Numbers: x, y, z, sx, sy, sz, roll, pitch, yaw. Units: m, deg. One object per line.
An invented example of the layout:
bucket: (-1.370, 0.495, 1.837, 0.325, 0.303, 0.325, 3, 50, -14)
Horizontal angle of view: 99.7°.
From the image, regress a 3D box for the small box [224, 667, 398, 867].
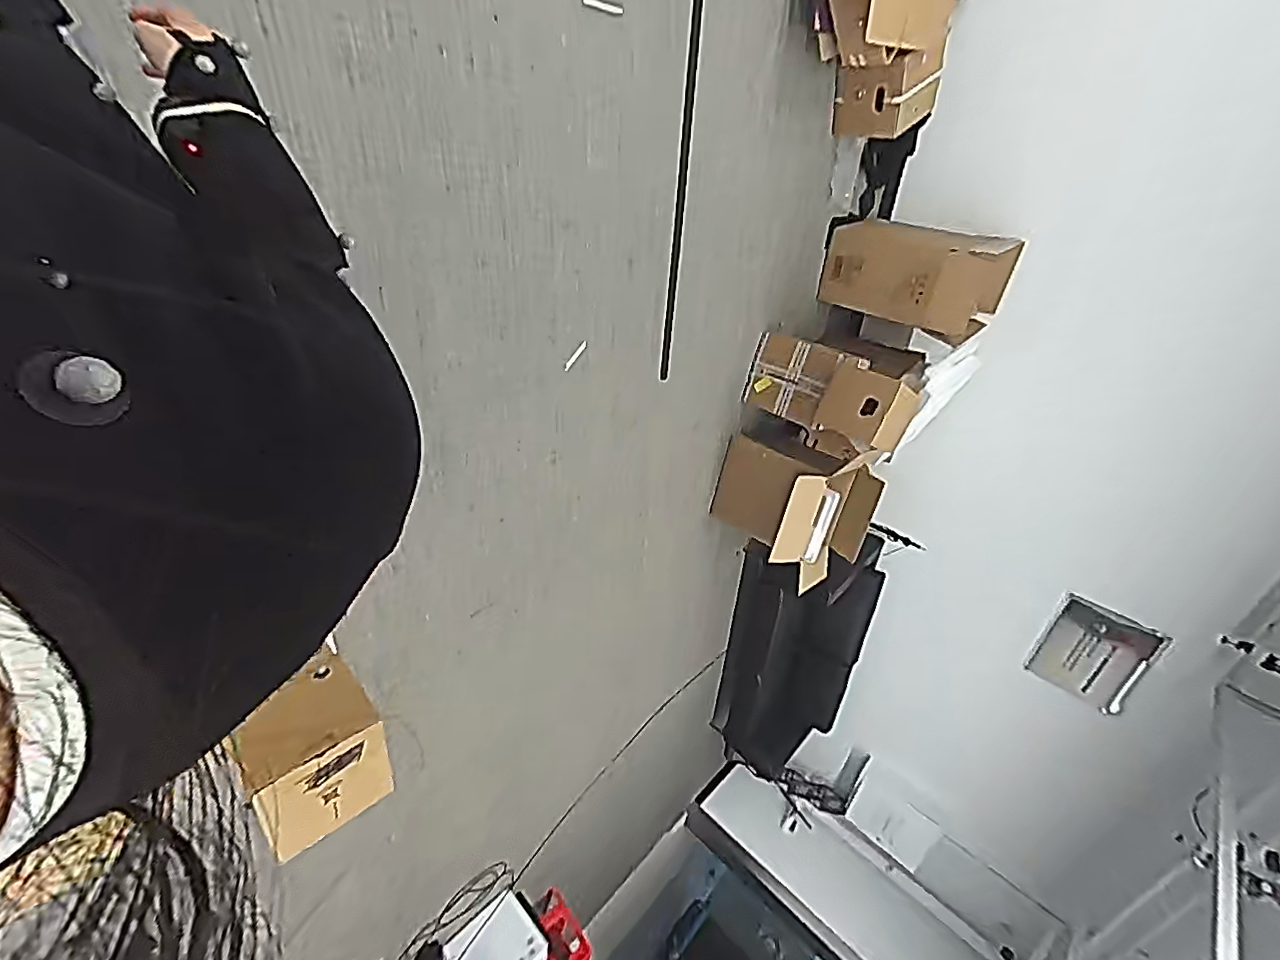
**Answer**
small box: (-0.489, 0.411, 0.810, 0.168, 0.176, 0.179, -22, 131, -42)

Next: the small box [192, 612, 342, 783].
small box: (-0.610, 0.346, 0.901, 0.168, 0.176, 0.179, -21, 129, -43)
